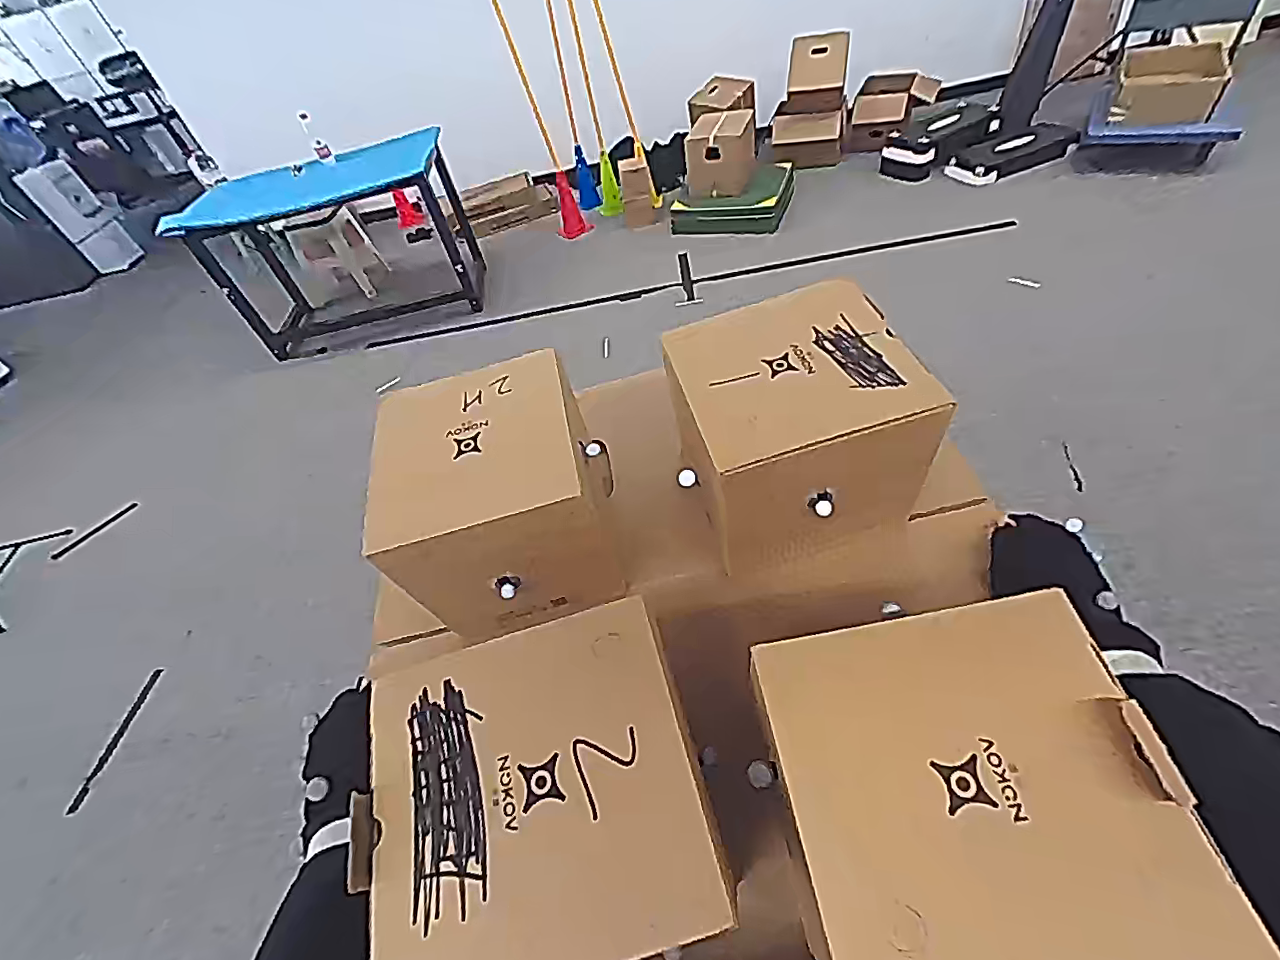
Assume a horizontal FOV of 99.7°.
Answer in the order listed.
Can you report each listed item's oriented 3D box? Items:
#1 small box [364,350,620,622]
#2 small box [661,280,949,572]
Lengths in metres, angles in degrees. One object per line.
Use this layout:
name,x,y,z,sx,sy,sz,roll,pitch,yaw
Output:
small box,-0.123,0.016,0.503,0.168,0.176,0.179,-15,52,1
small box,0.131,-0.041,0.486,0.179,0.176,0.168,-17,53,1
